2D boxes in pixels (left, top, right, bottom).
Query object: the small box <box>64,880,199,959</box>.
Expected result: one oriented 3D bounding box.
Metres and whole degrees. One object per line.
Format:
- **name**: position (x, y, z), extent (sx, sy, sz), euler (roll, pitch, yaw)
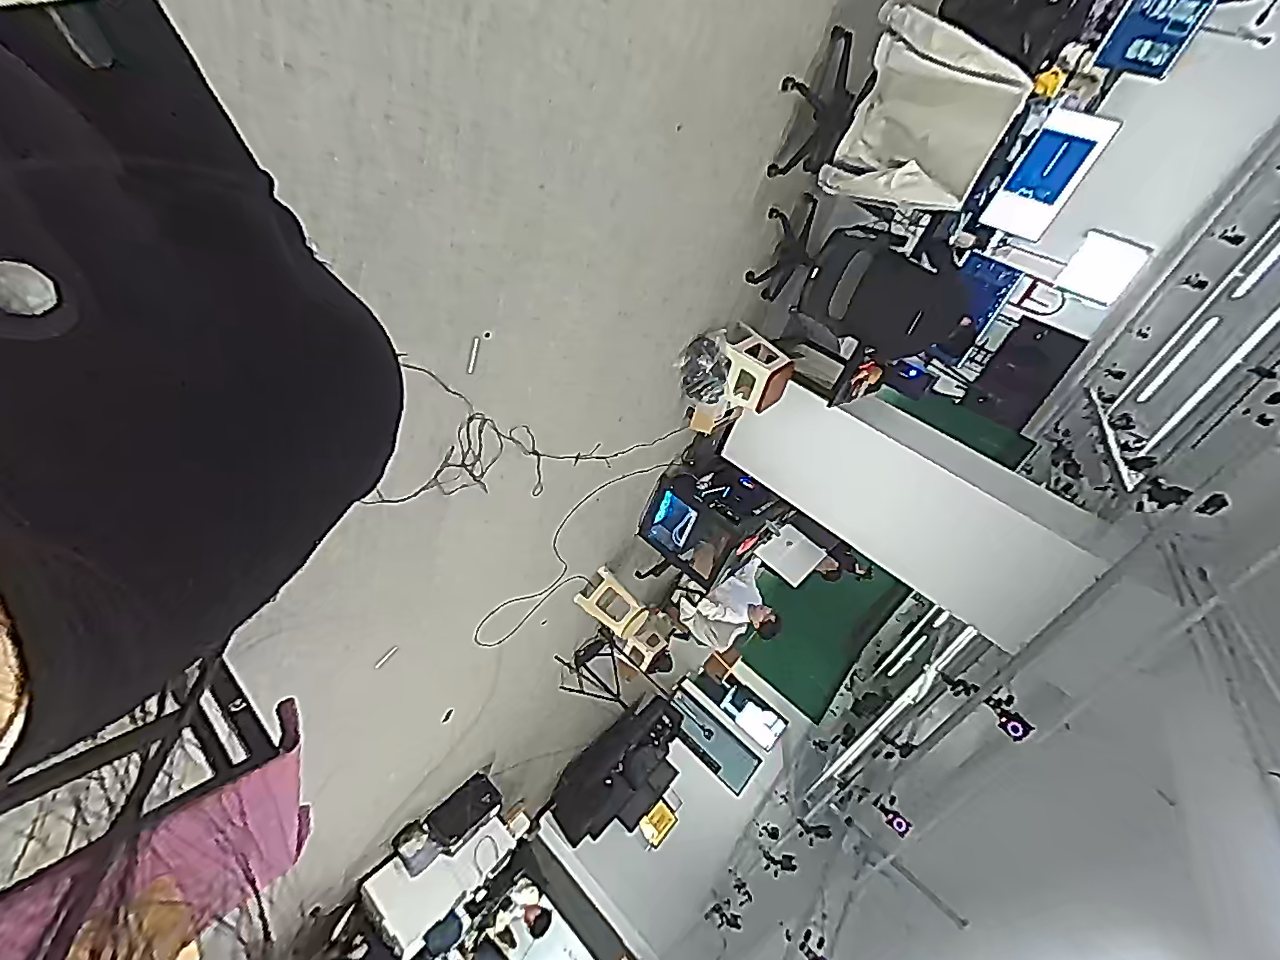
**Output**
- **small box**: position (-1.046, 0.987, 1.120), extent (0.168, 0.176, 0.179), euler (-20, 140, -52)
